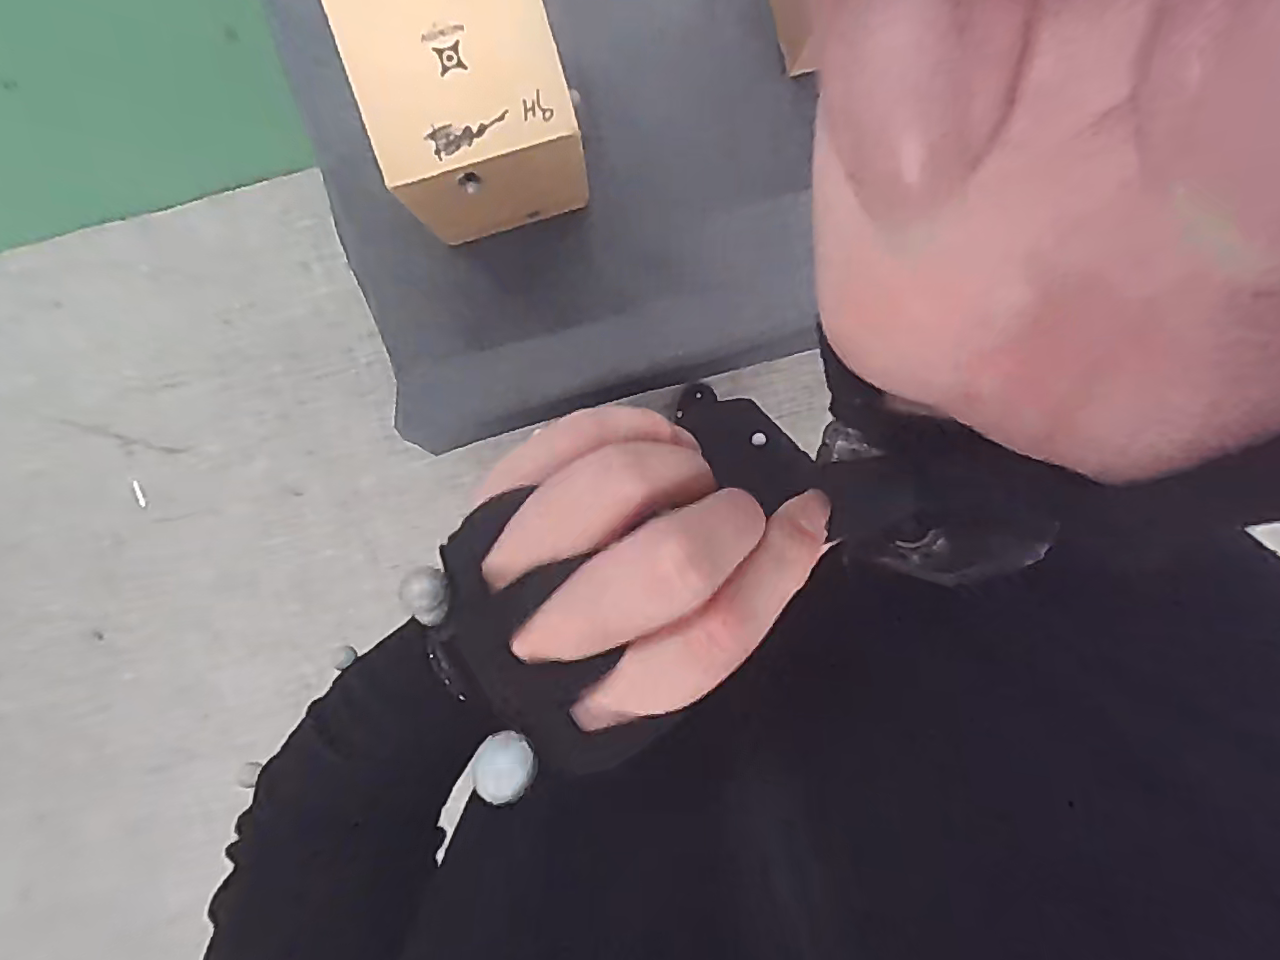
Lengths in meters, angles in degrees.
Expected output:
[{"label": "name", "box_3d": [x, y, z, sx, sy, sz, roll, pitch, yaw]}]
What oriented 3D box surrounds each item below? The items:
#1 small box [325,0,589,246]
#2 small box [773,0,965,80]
[{"label": "small box", "box_3d": [-0.152, -0.347, 0.502, 0.168, 0.176, 0.179, -17, 98, 1]}, {"label": "small box", "box_3d": [0.218, -0.520, 0.492, 0.168, 0.176, 0.179, -17, 101, 2]}]
